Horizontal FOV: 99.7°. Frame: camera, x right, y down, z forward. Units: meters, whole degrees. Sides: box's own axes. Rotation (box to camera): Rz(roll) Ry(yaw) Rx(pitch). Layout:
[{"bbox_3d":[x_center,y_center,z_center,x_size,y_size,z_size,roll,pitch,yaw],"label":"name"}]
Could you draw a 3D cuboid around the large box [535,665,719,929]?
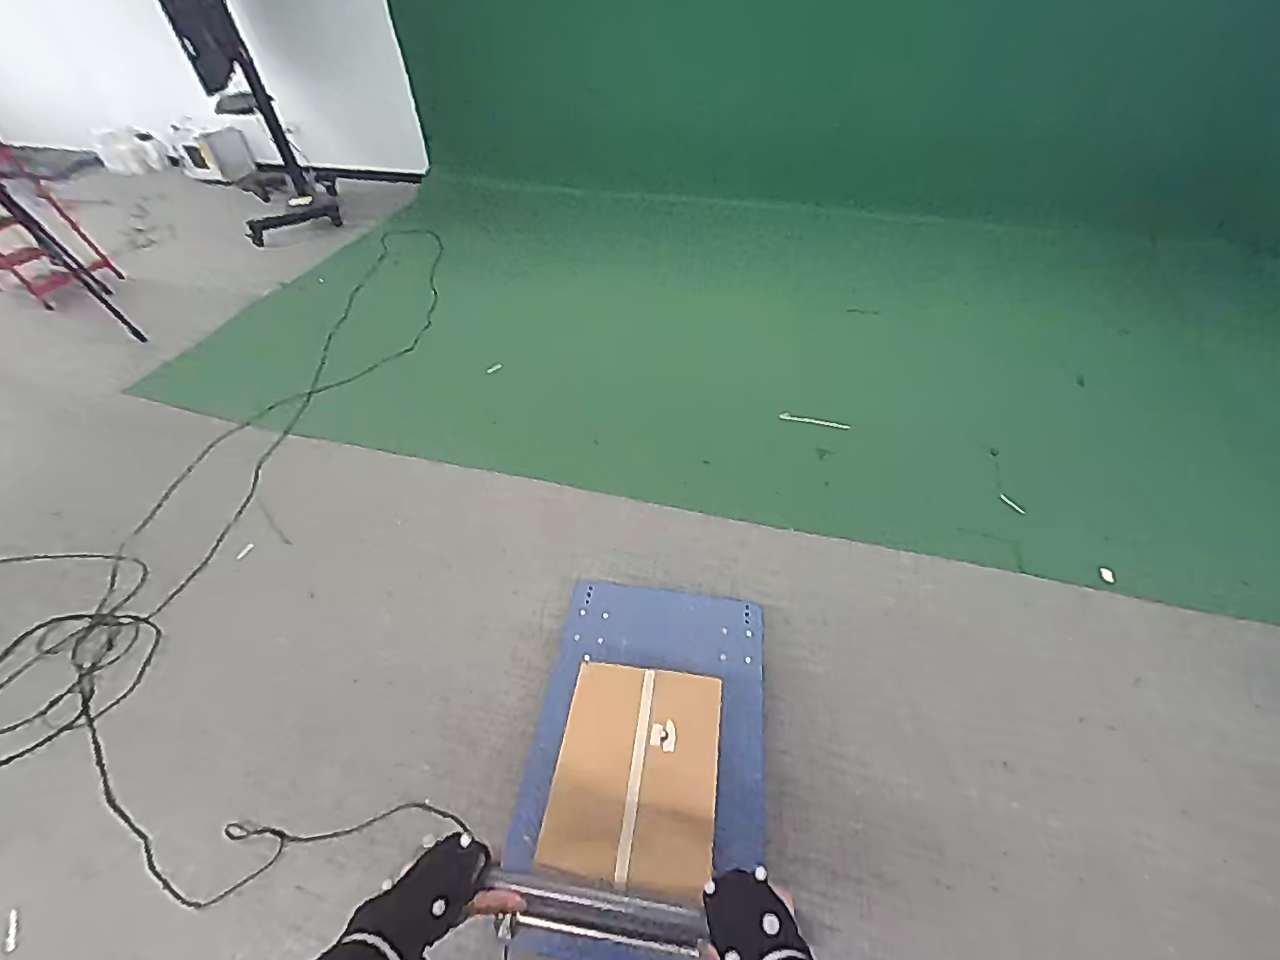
[{"bbox_3d":[0.000,0.668,1.155,0.320,0.320,0.408,5,46,7],"label":"large box"}]
